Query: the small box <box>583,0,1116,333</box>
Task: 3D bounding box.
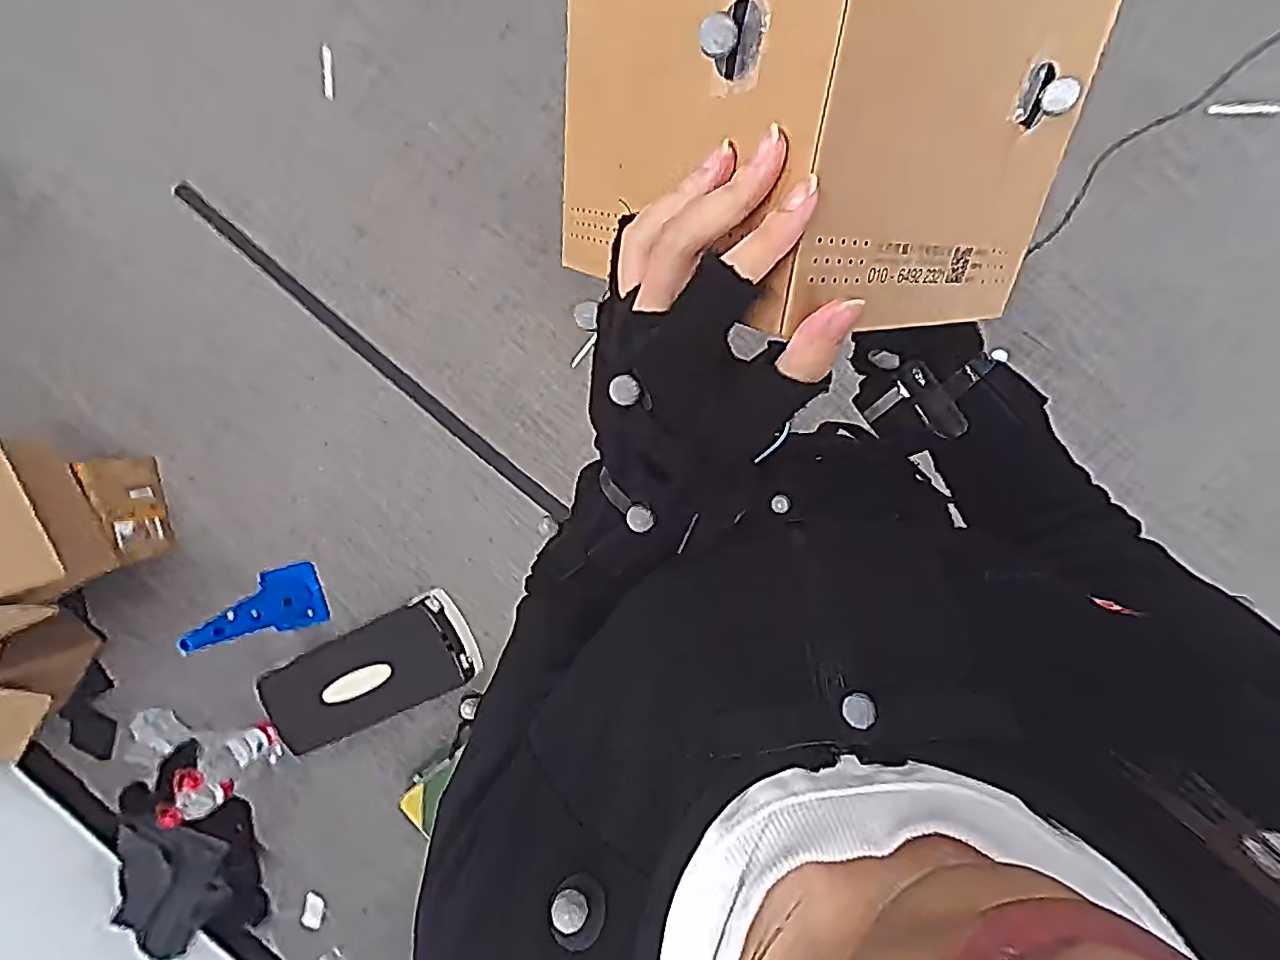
[{"bbox_3d":[0.084,-0.172,0.264,0.168,0.179,0.176,-12,122,-32],"label":"small box"}]
